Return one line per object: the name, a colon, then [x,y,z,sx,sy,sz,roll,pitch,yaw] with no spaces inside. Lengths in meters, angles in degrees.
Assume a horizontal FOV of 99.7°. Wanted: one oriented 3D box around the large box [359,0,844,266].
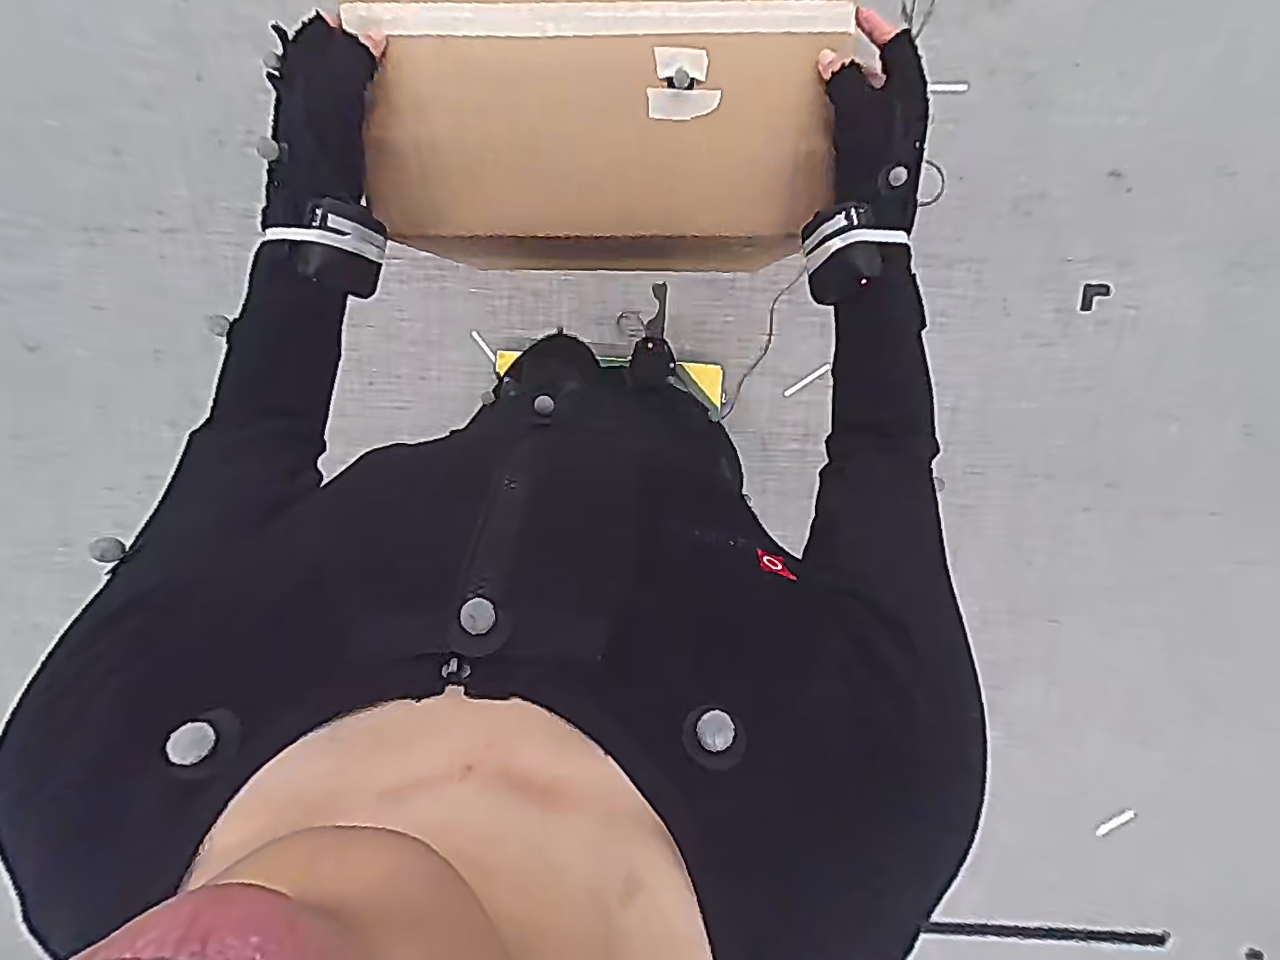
large box: [-0.034,-0.418,0.586,0.408,0.320,0.320,-1,107,-1]
